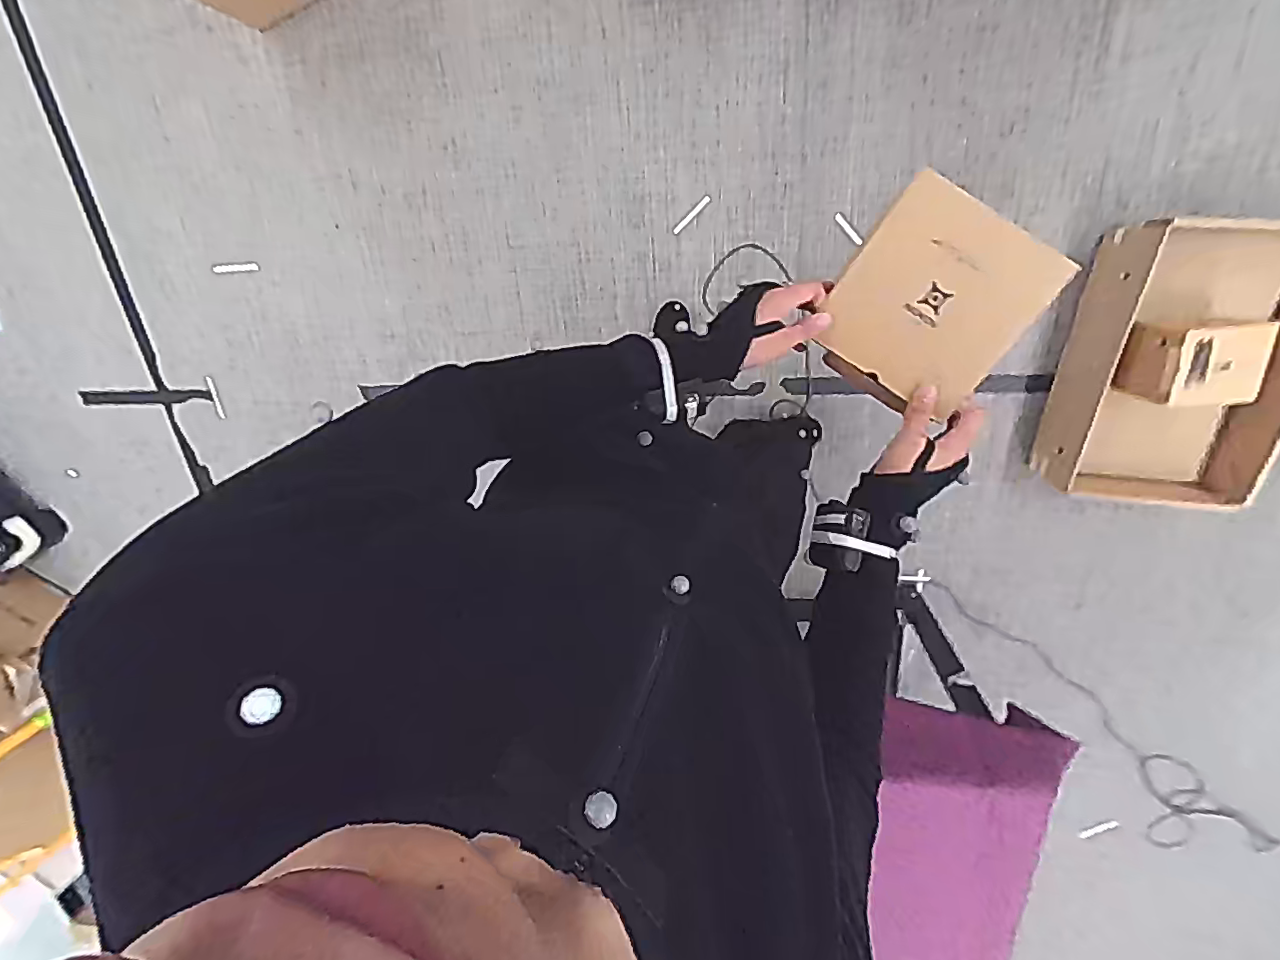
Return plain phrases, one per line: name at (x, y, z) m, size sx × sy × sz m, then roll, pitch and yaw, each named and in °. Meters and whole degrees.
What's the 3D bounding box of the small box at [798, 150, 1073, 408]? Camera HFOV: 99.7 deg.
small box at (0.293, -0.207, 0.579) m, size 0.168 × 0.176 × 0.179 m, roll 34°, pitch 116°, yaw 3°
